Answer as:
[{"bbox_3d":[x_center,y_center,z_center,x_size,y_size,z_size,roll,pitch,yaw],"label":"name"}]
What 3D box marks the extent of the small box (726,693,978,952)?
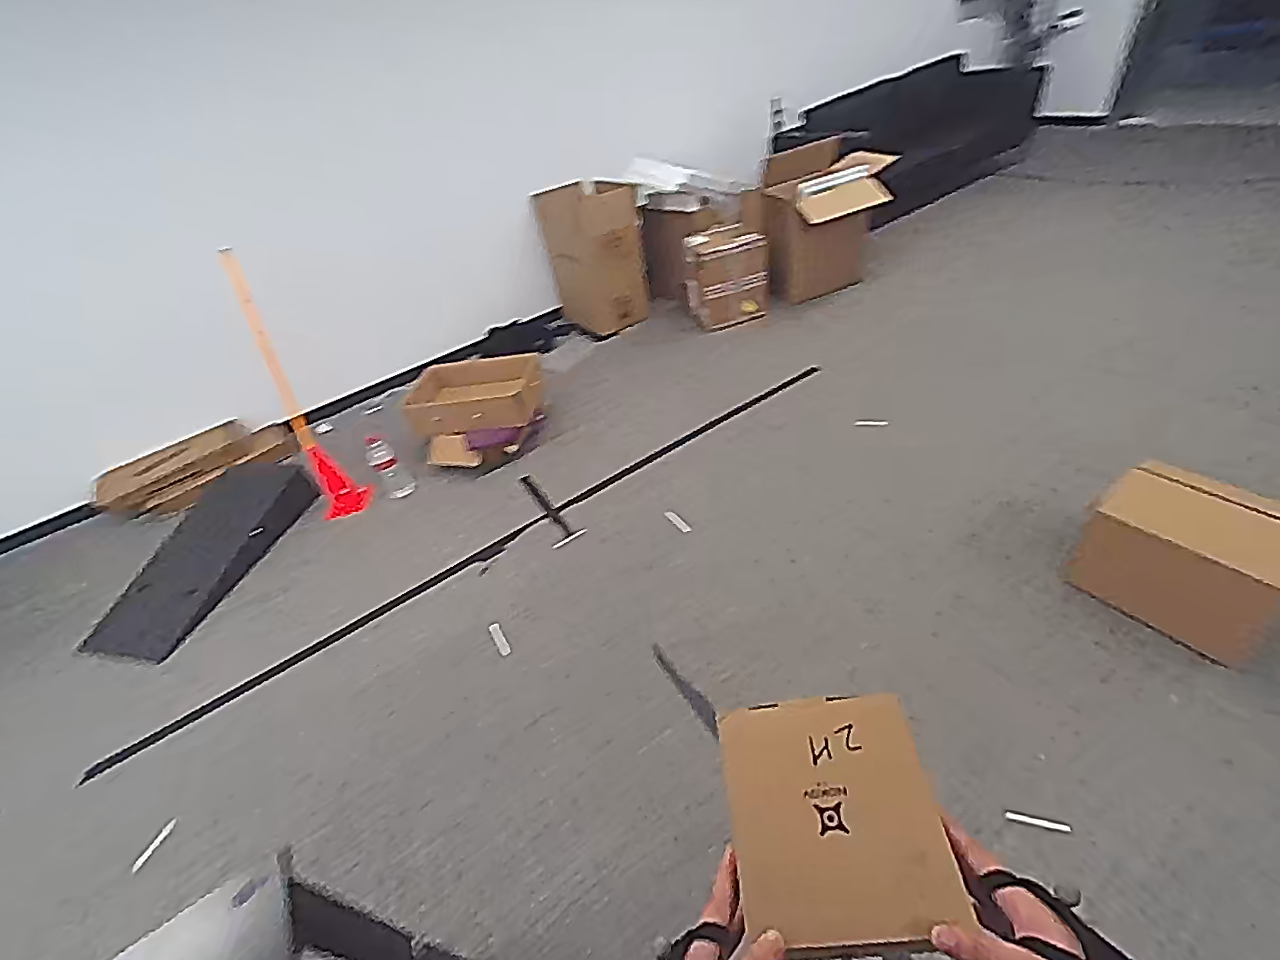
[{"bbox_3d":[0.178,0.326,0.510,0.168,0.176,0.179,-8,44,6],"label":"small box"}]
